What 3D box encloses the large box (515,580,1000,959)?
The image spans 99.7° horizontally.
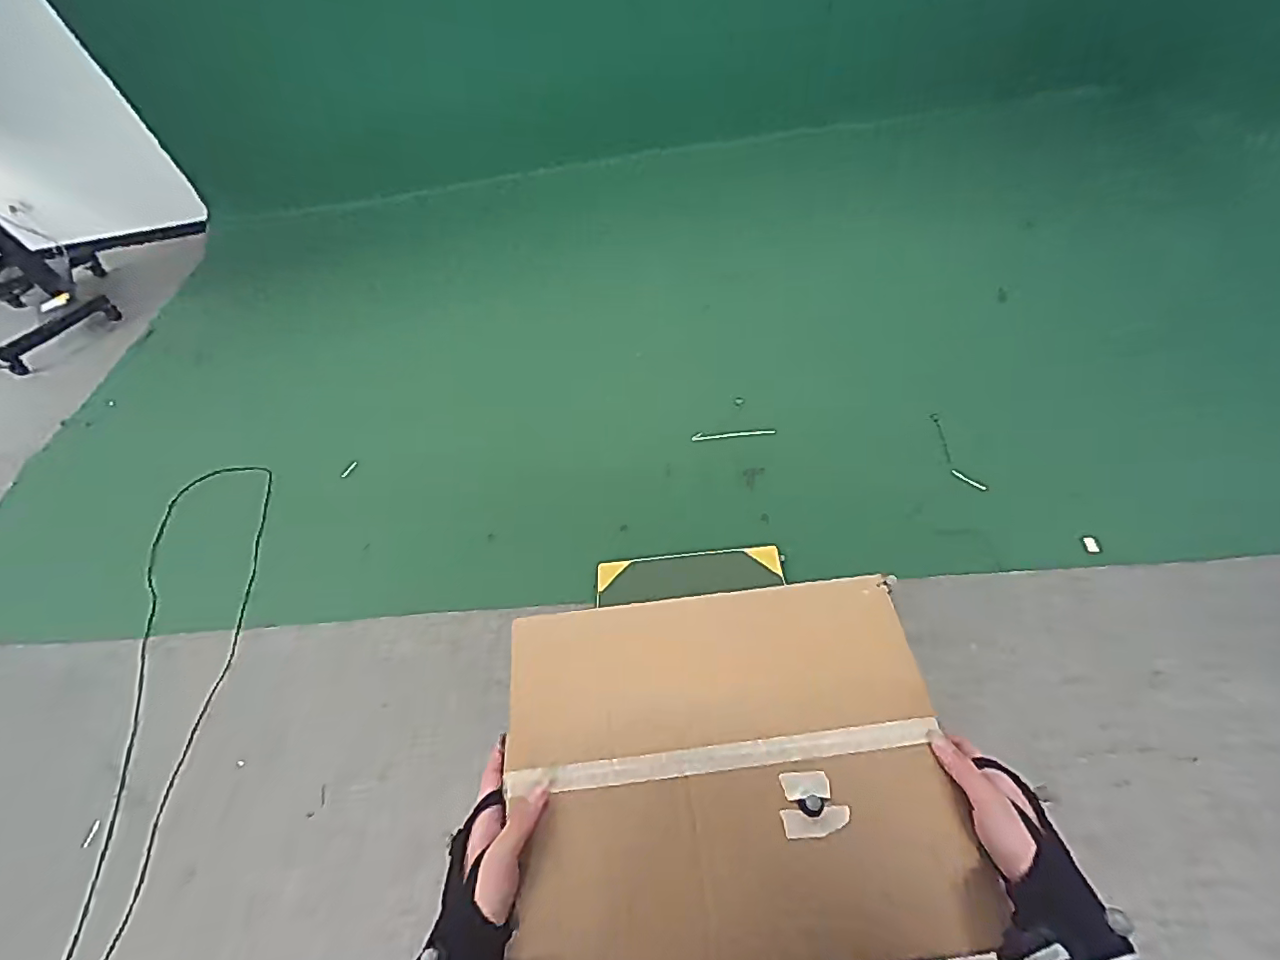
[{"bbox_3d":[0.085,0.345,0.635,0.408,0.320,0.320,-7,57,-2],"label":"large box"}]
